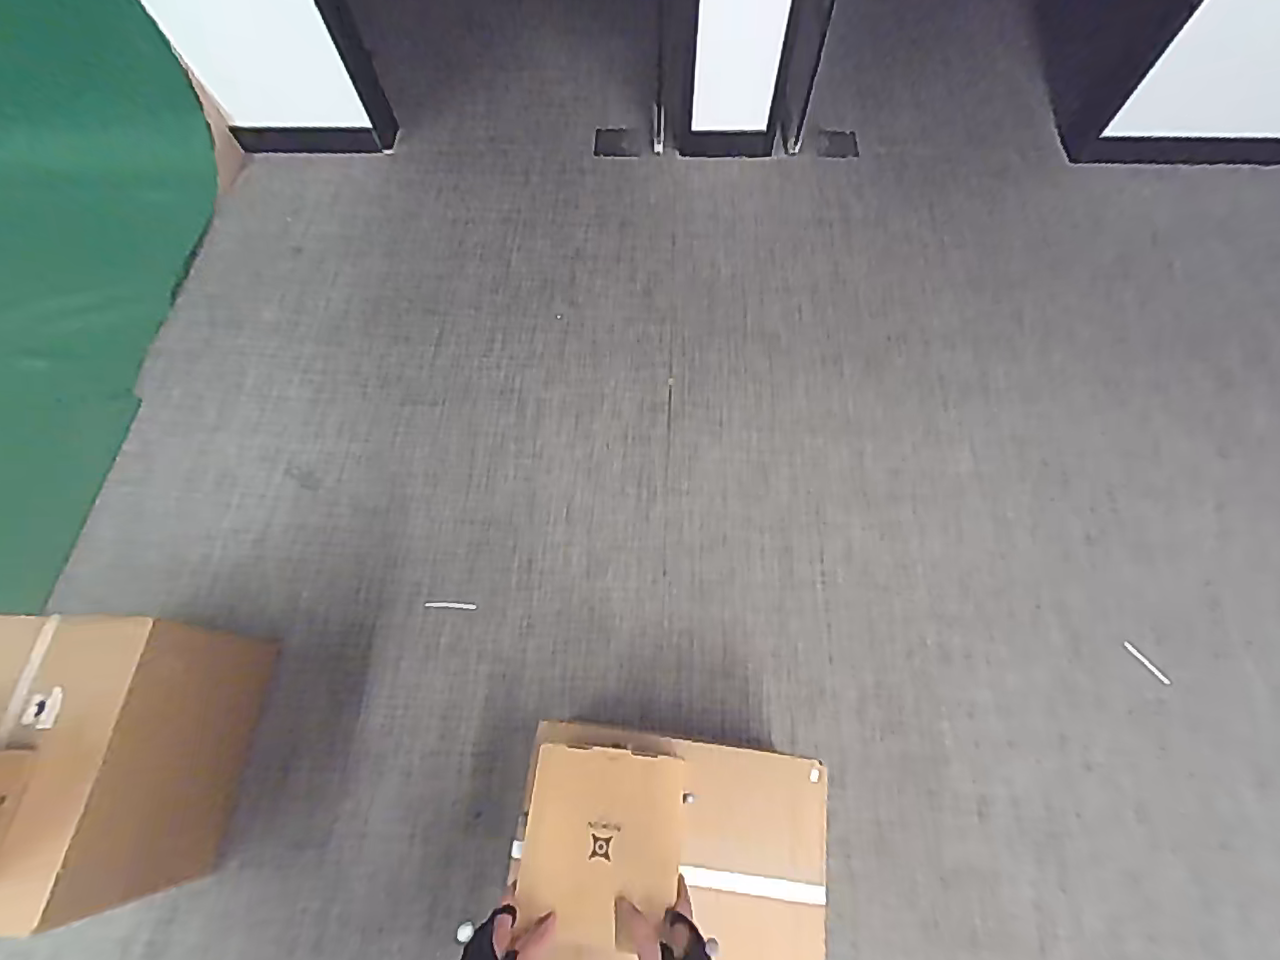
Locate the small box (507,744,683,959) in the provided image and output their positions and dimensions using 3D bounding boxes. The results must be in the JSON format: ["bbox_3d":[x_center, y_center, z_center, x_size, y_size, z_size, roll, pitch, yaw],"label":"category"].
[{"bbox_3d":[-0.038,0.420,0.633,0.168,0.176,0.179,4,60,5],"label":"small box"}]

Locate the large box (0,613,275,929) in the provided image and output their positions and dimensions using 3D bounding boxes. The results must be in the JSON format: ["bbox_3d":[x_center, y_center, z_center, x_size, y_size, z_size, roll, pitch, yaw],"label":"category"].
[{"bbox_3d":[-0.909,0.458,0.909,0.320,0.320,0.408,1,65,2],"label":"large box"}]

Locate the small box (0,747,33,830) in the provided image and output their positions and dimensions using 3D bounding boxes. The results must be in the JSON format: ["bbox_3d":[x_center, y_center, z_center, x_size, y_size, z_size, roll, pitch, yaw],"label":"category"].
[{"bbox_3d":[-0.933,0.420,0.659,0.179,0.176,0.168,0,65,2],"label":"small box"}]
